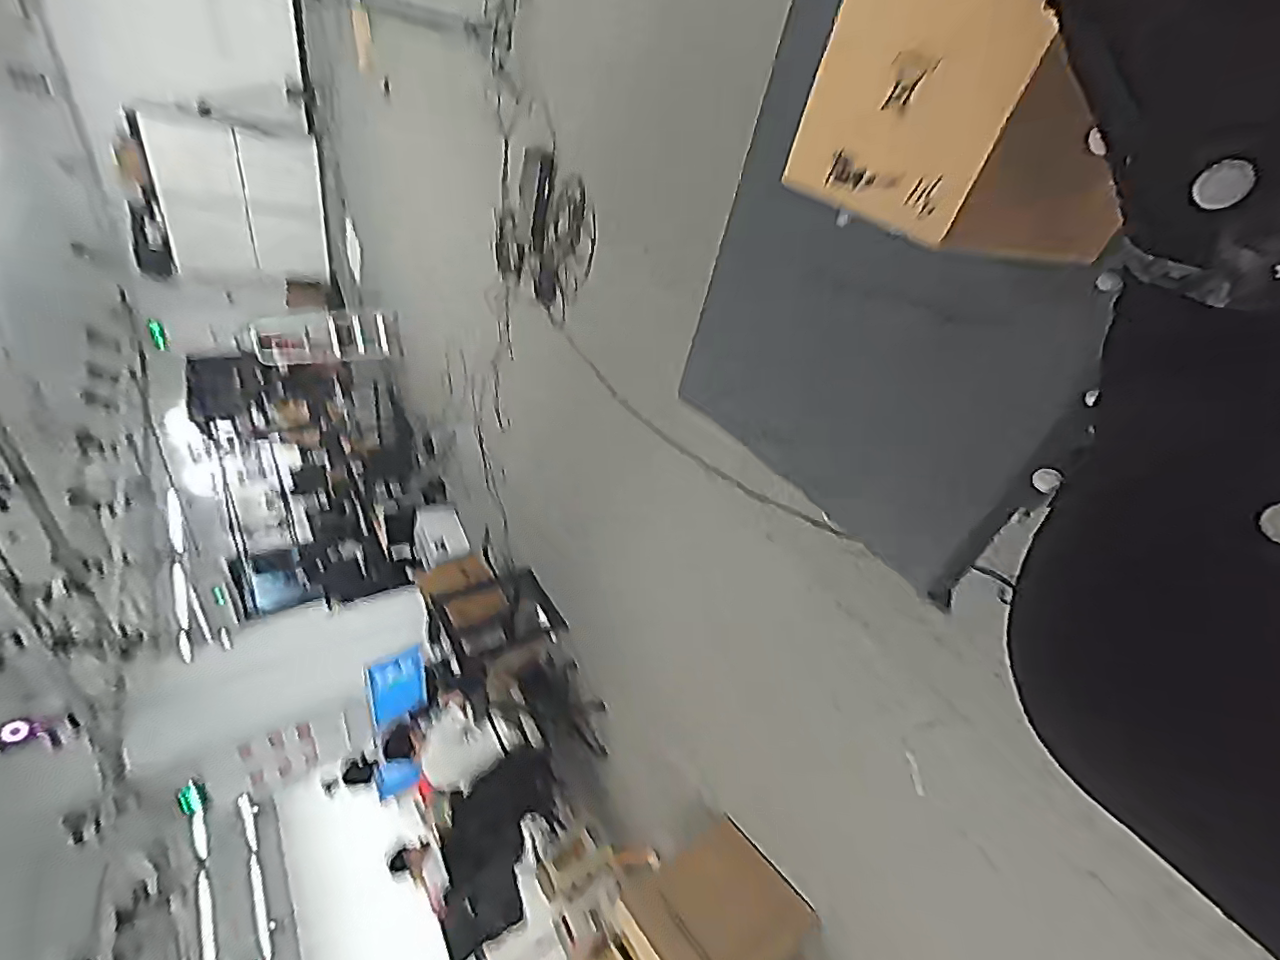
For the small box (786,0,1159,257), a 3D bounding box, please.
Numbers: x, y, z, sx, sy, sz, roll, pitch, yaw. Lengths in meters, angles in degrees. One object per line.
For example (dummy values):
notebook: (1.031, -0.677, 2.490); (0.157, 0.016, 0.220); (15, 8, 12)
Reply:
small box: (0.259, -0.299, 0.437); (0.168, 0.176, 0.179); (49, 137, 36)
